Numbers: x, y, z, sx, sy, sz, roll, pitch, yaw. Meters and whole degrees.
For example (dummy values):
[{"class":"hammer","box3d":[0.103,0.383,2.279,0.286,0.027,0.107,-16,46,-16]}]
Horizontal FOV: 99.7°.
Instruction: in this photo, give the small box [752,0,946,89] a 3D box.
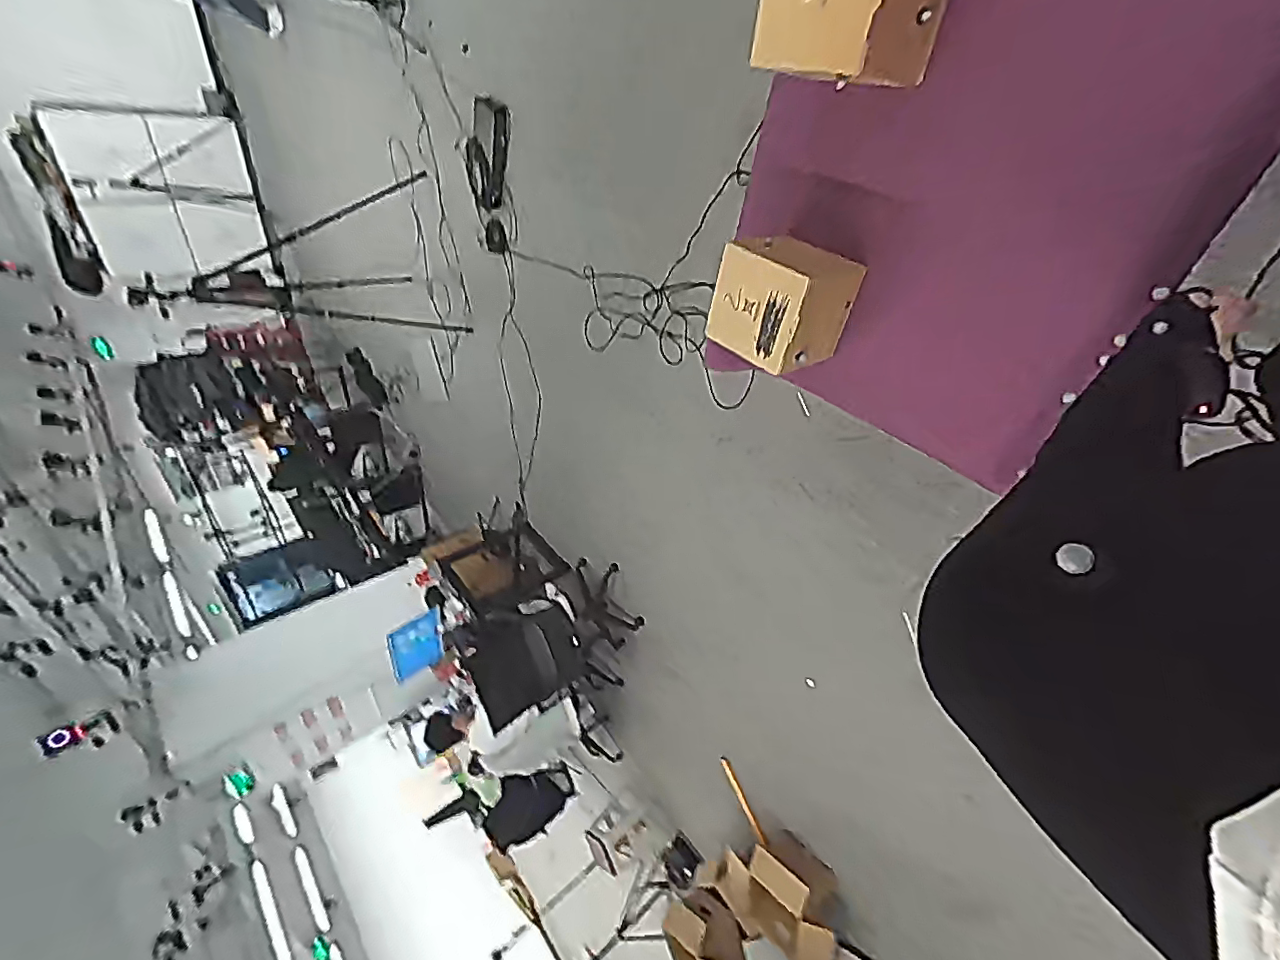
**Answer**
[{"class":"small box","box3d":[0.282,-0.630,0.716,0.179,0.176,0.168,35,134,34]}]
